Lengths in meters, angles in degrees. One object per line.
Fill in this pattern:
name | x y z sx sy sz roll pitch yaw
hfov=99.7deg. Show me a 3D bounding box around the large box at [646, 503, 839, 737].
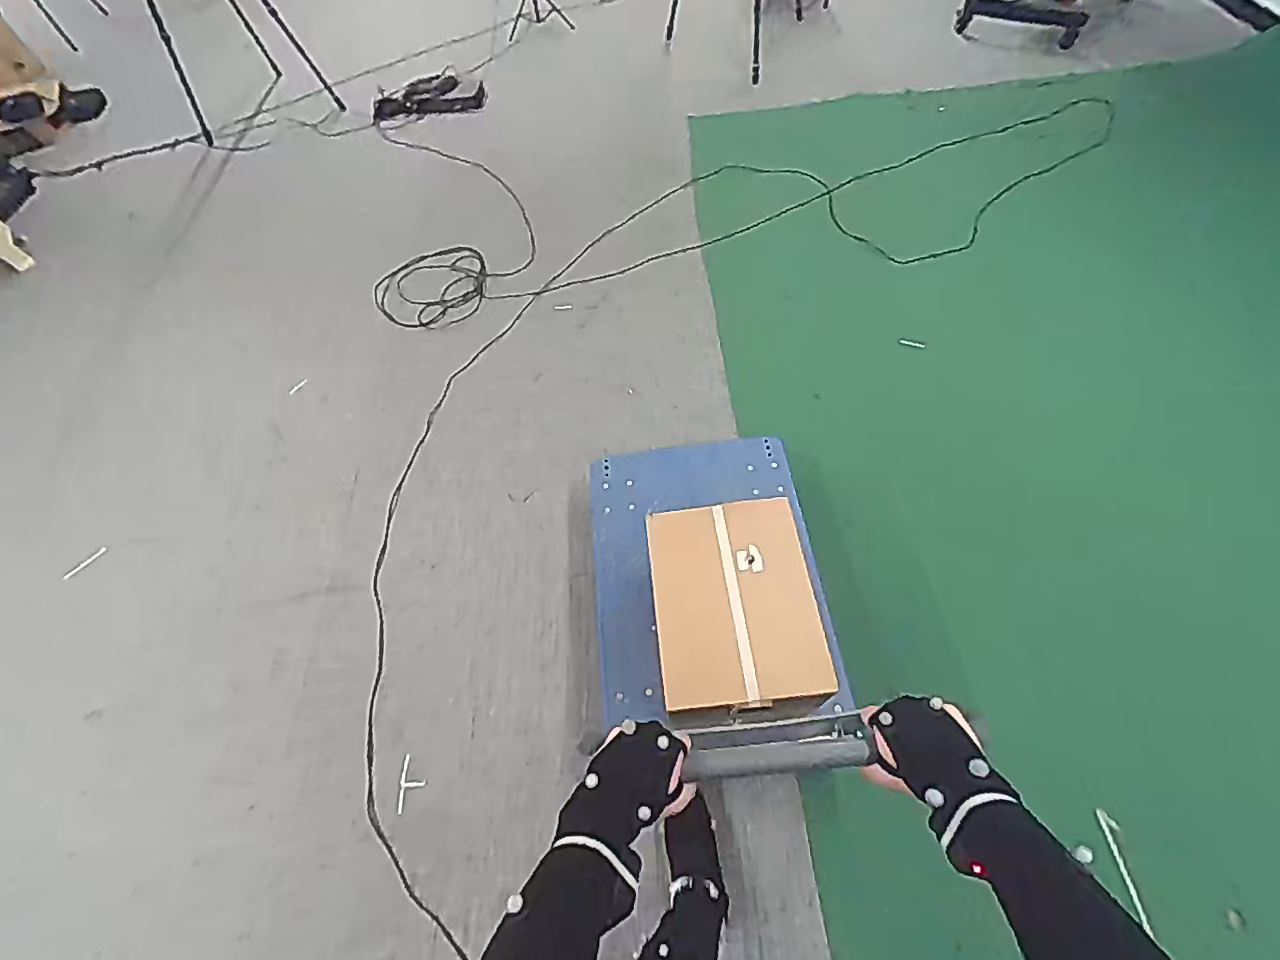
large box | 0.201 0.316 1.200 0.320 0.320 0.408 -7 57 1
